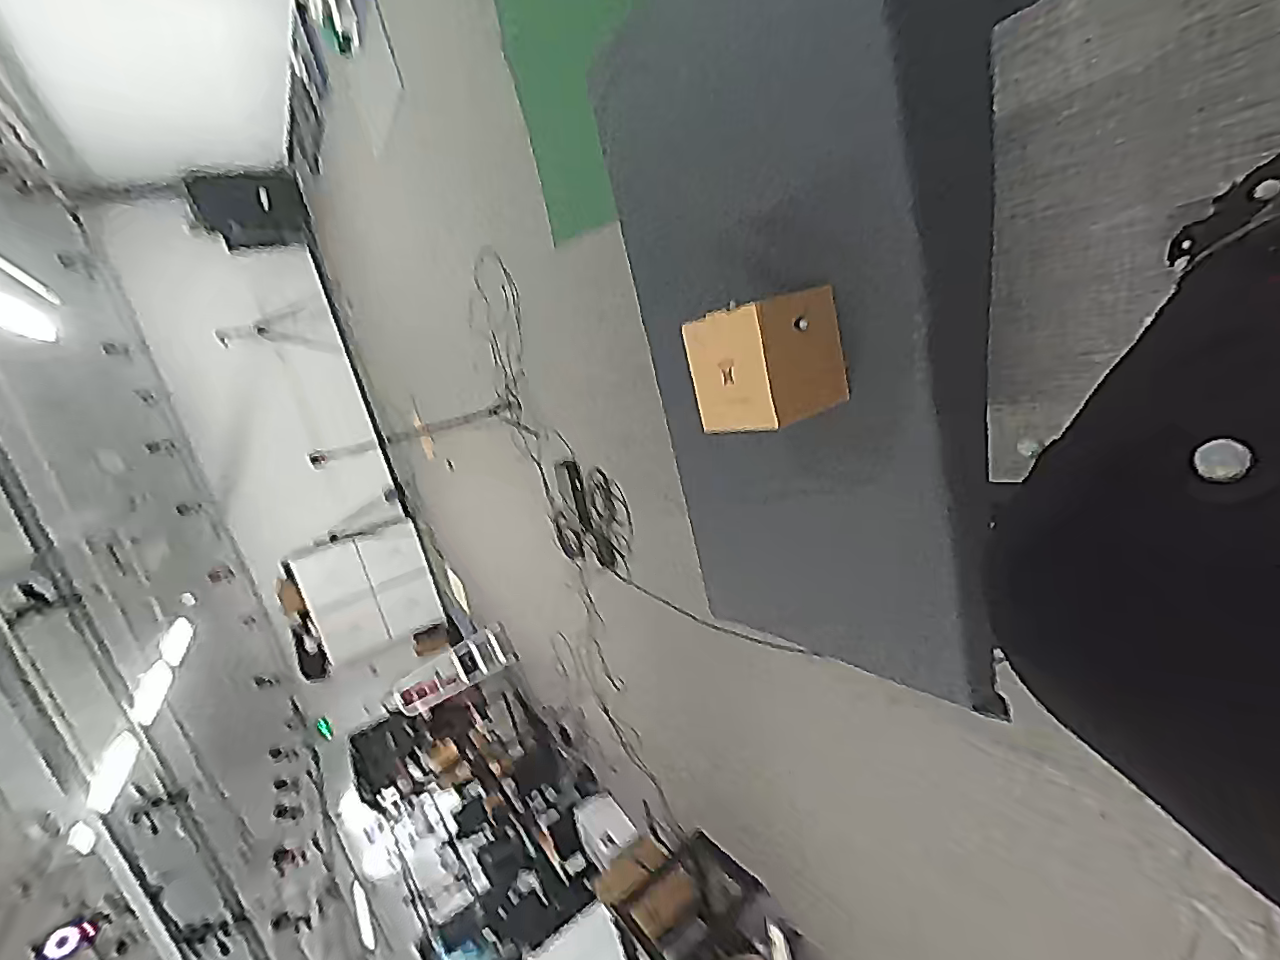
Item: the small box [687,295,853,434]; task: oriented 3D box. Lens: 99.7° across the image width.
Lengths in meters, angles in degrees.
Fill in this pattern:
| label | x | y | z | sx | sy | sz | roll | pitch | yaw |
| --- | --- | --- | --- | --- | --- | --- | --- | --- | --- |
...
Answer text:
| label | x | y | z | sx | sy | sz | roll | pitch | yaw |
| --- | --- | --- | --- | --- | --- | --- | --- | --- | --- |
| small box | 0.205 | -0.181 | 0.847 | 0.168 | 0.176 | 0.179 | 4 | 113 | 58 |
